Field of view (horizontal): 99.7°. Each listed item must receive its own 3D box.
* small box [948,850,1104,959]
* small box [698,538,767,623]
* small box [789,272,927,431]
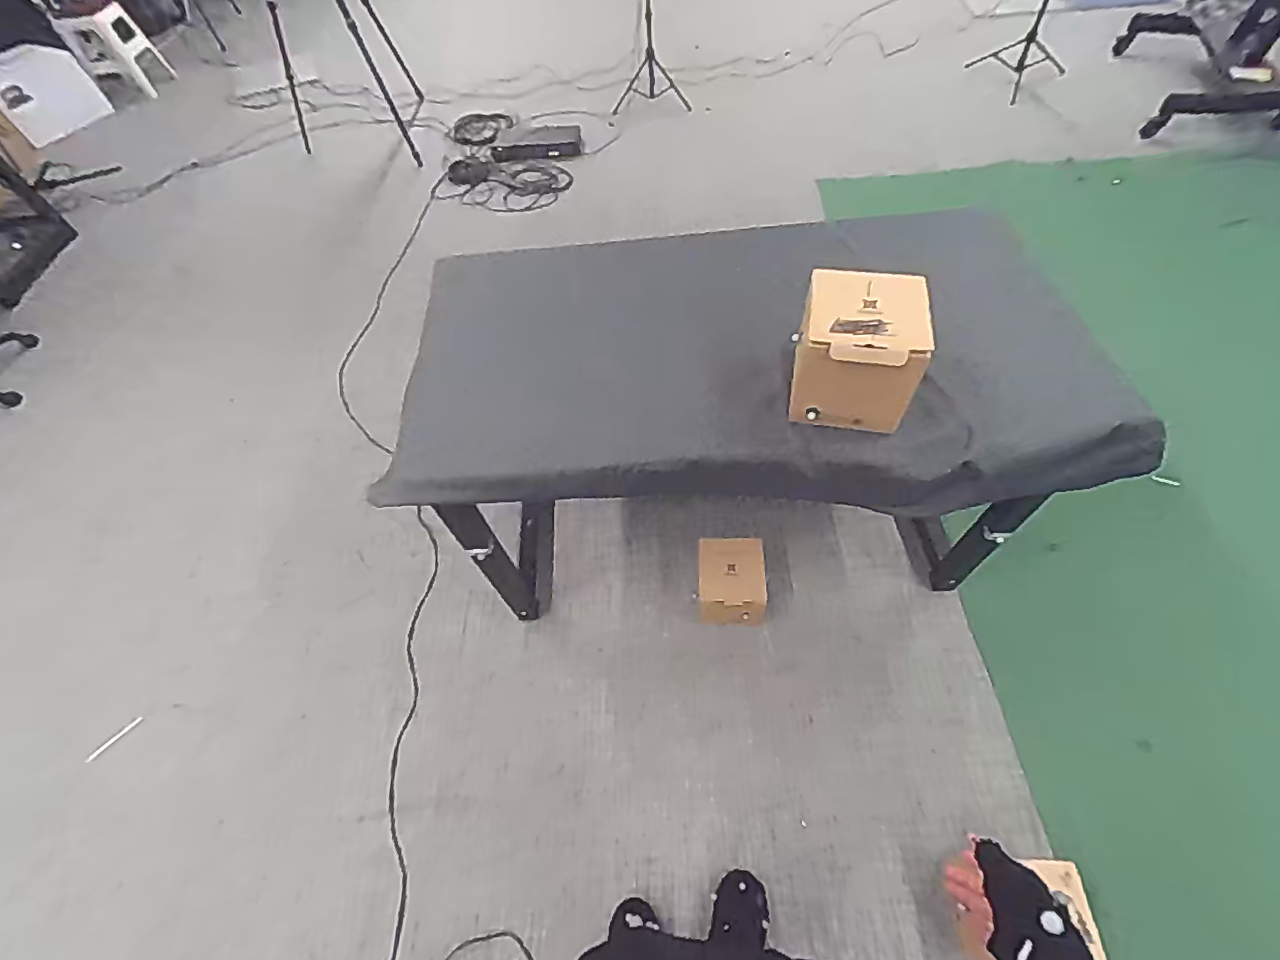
[{"bbox_3d":[0.713,0.808,1.026,0.179,0.176,0.168,0,57,6],"label":"small box"},{"bbox_3d":[0.239,0.268,1.428,0.168,0.176,0.179,0,55,4],"label":"small box"},{"bbox_3d":[0.334,-0.198,0.850,0.168,0.176,0.179,9,57,11],"label":"small box"}]
